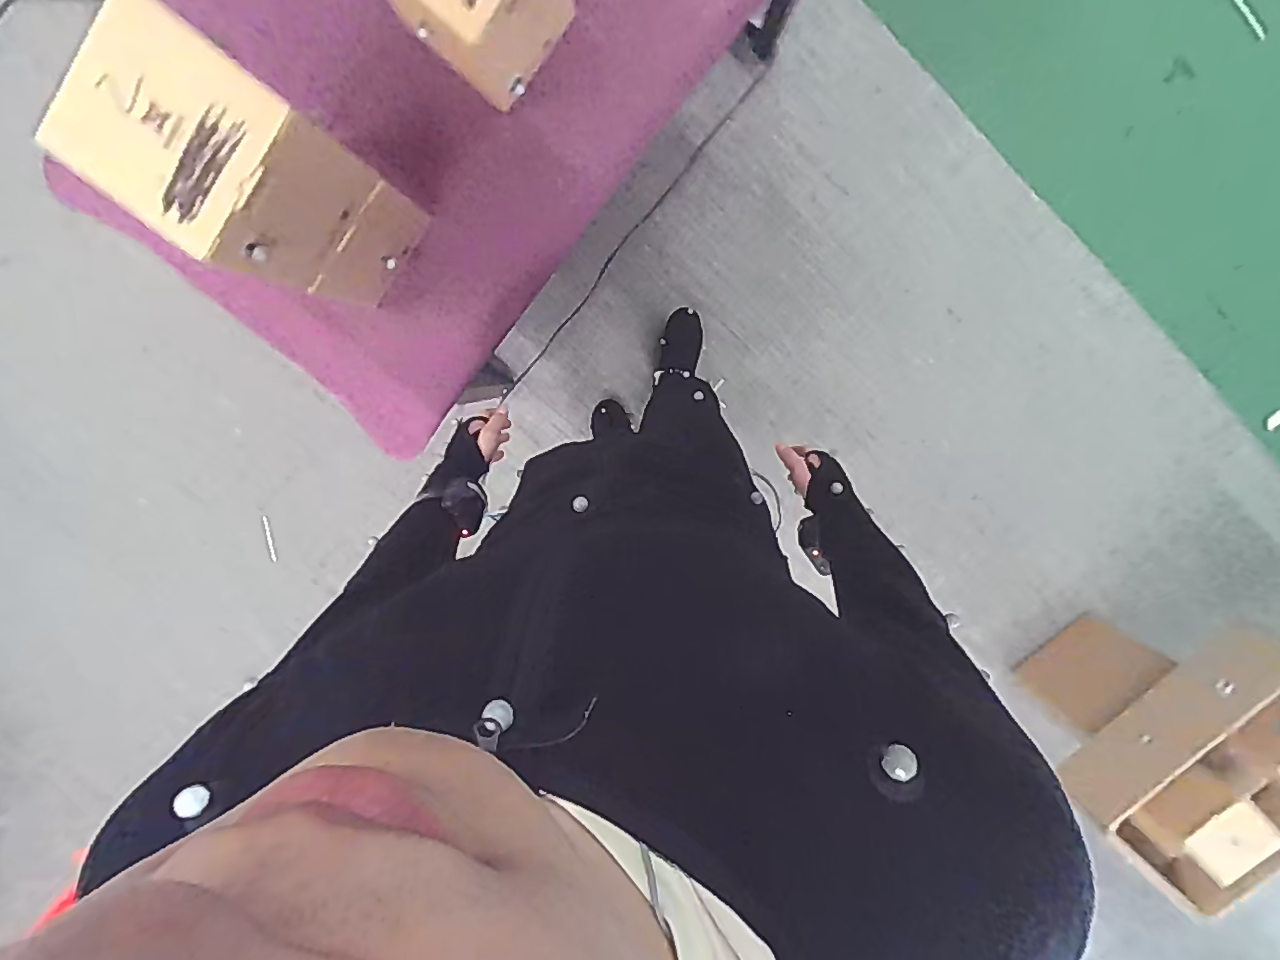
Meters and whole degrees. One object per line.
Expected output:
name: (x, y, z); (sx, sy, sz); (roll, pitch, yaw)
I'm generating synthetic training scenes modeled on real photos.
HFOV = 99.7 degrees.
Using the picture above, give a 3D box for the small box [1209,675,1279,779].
small box: (1.505, 0.590, 1.247); (0.168, 0.176, 0.179); (41, 99, -7)

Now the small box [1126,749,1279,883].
small box: (1.335, 0.787, 1.284); (0.179, 0.176, 0.168); (43, 98, -7)

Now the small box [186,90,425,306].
small box: (-0.431, -0.355, 0.726); (0.179, 0.176, 0.168); (37, 98, -7)

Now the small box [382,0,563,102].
small box: (-0.216, -0.623, 0.679); (0.179, 0.176, 0.168); (39, 98, -7)
